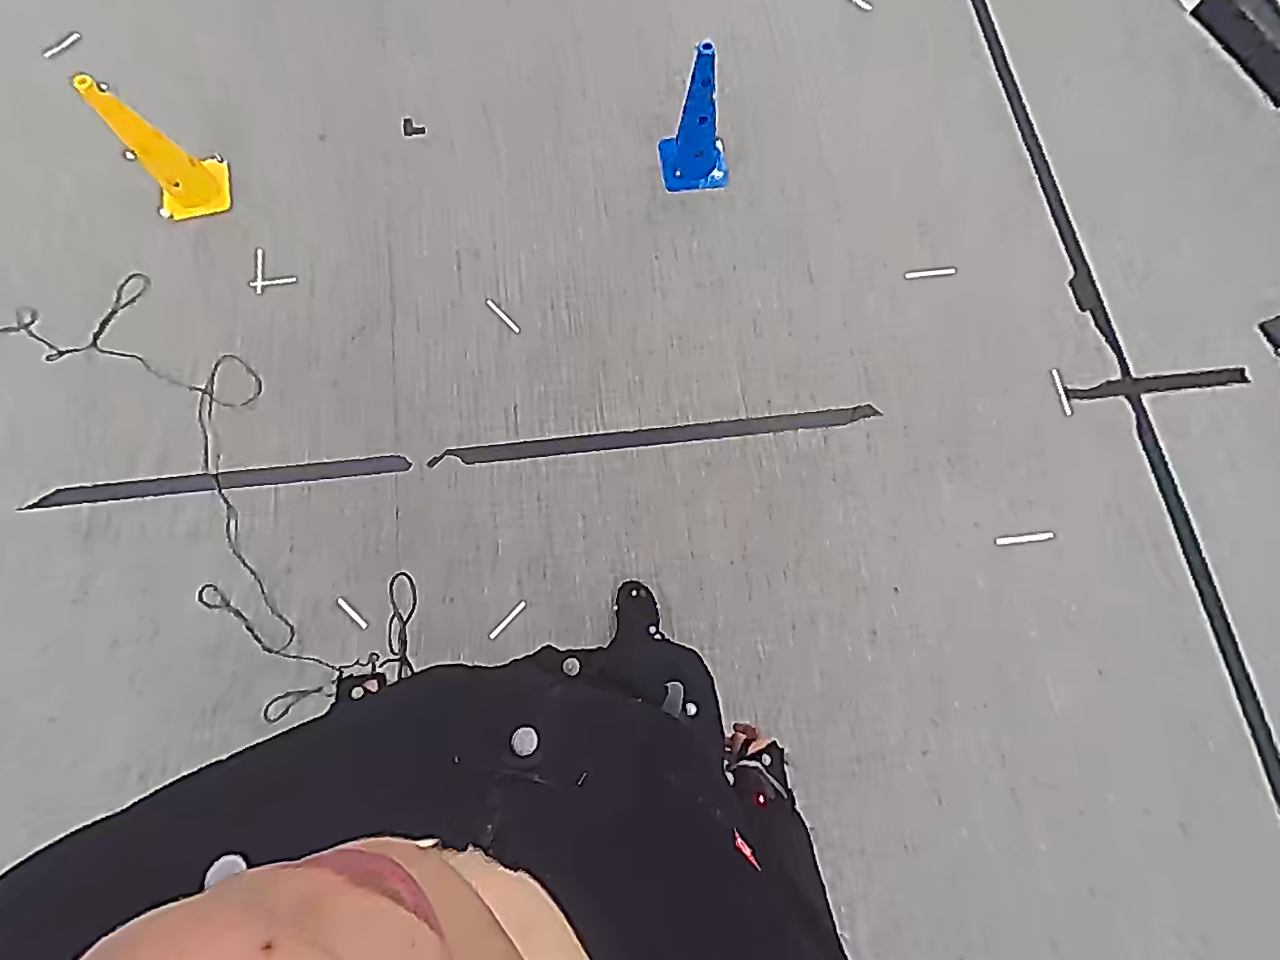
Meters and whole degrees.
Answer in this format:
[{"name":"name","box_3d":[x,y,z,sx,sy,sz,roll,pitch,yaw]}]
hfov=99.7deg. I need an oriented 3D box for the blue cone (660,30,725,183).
[{"name":"blue cone","box_3d":[0.163,-1.044,1.516,0.193,0.380,0.192,-6,75,-1]}]
